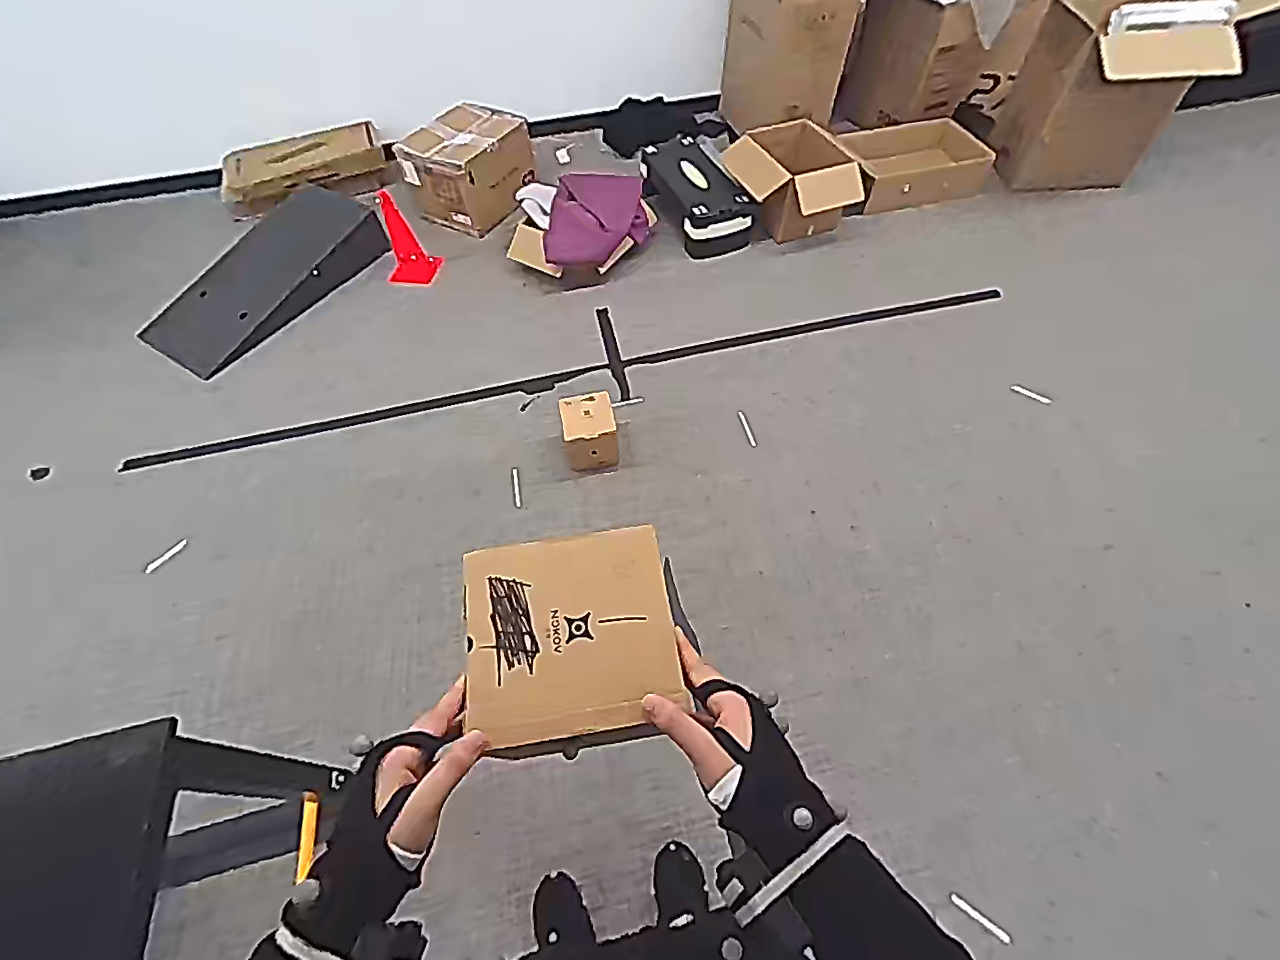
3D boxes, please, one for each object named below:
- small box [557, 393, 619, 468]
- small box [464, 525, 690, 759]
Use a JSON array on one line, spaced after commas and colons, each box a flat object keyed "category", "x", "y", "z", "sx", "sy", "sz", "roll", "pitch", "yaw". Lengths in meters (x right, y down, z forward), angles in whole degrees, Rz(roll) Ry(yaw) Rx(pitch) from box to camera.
[{"category": "small box", "x": -0.168, "y": -0.153, "z": 1.765, "sx": 0.168, "sy": 0.176, "sz": 0.179, "roll": -11, "pitch": 57, "yaw": -4}, {"category": "small box", "x": -0.055, "y": 0.161, "z": 0.514, "sx": 0.179, "sy": 0.176, "sz": 0.168, "roll": -8, "pitch": 61, "yaw": -4}]
